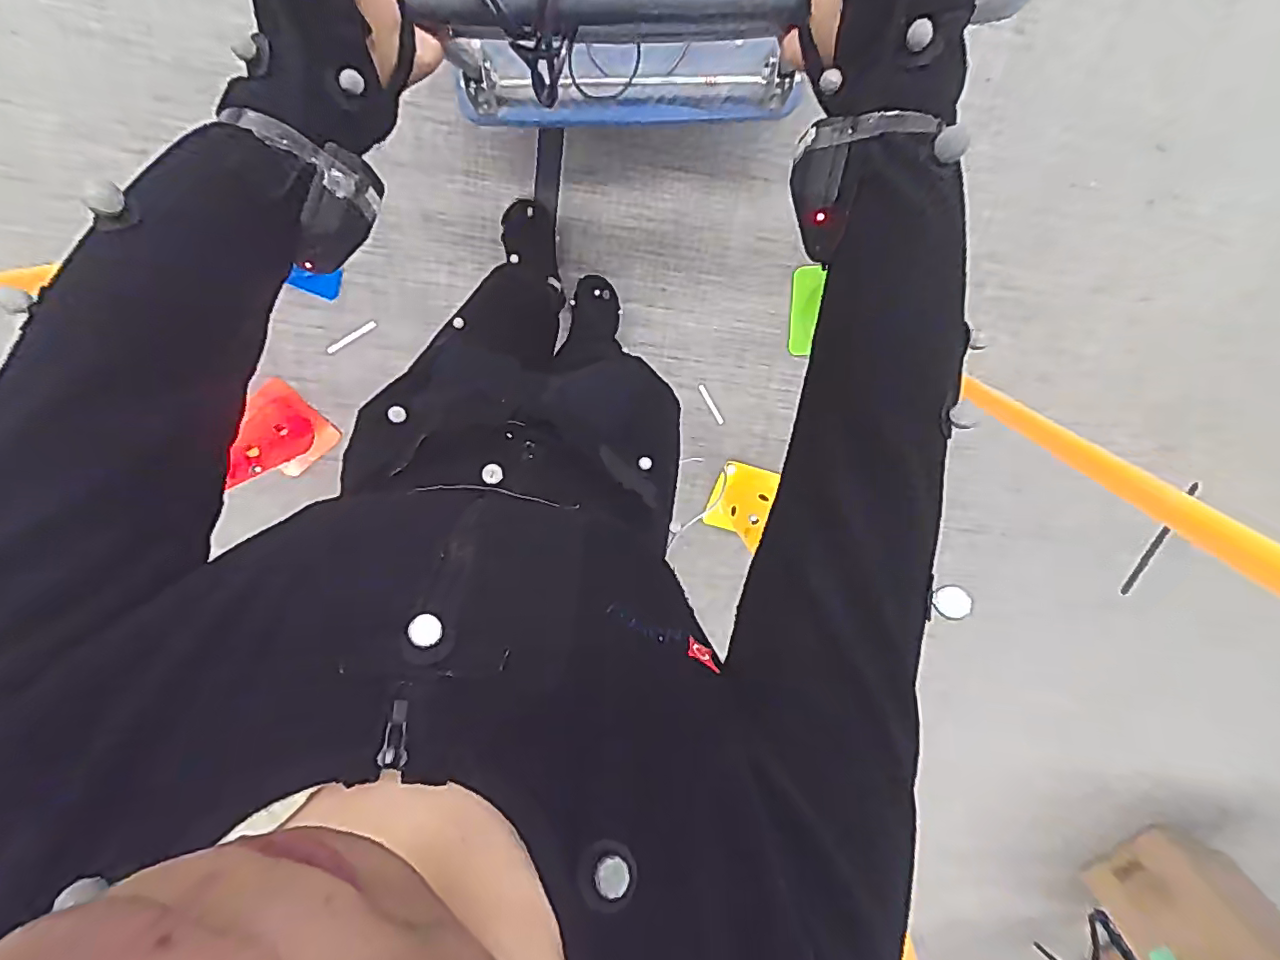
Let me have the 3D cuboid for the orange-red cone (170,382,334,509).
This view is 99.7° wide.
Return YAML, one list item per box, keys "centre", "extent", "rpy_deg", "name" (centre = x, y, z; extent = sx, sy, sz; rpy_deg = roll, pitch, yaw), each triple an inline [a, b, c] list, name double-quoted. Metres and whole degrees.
- centre: [-0.867, -0.043, 1.162]
  extent: [0.199, 0.360, 0.198]
  rpy_deg: [-33, 114, 13]
  name: "orange-red cone"

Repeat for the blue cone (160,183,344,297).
- centre: [-0.720, -0.423, 0.988]
  extent: [0.193, 0.380, 0.192]
  rpy_deg: [21, 115, -12]
  name: "blue cone"

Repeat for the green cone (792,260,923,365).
- centre: [0.452, -0.304, 1.074]
  extent: [0.200, 0.368, 0.202]
  rpy_deg: [-5, 119, 1]
  name: "green cone"
